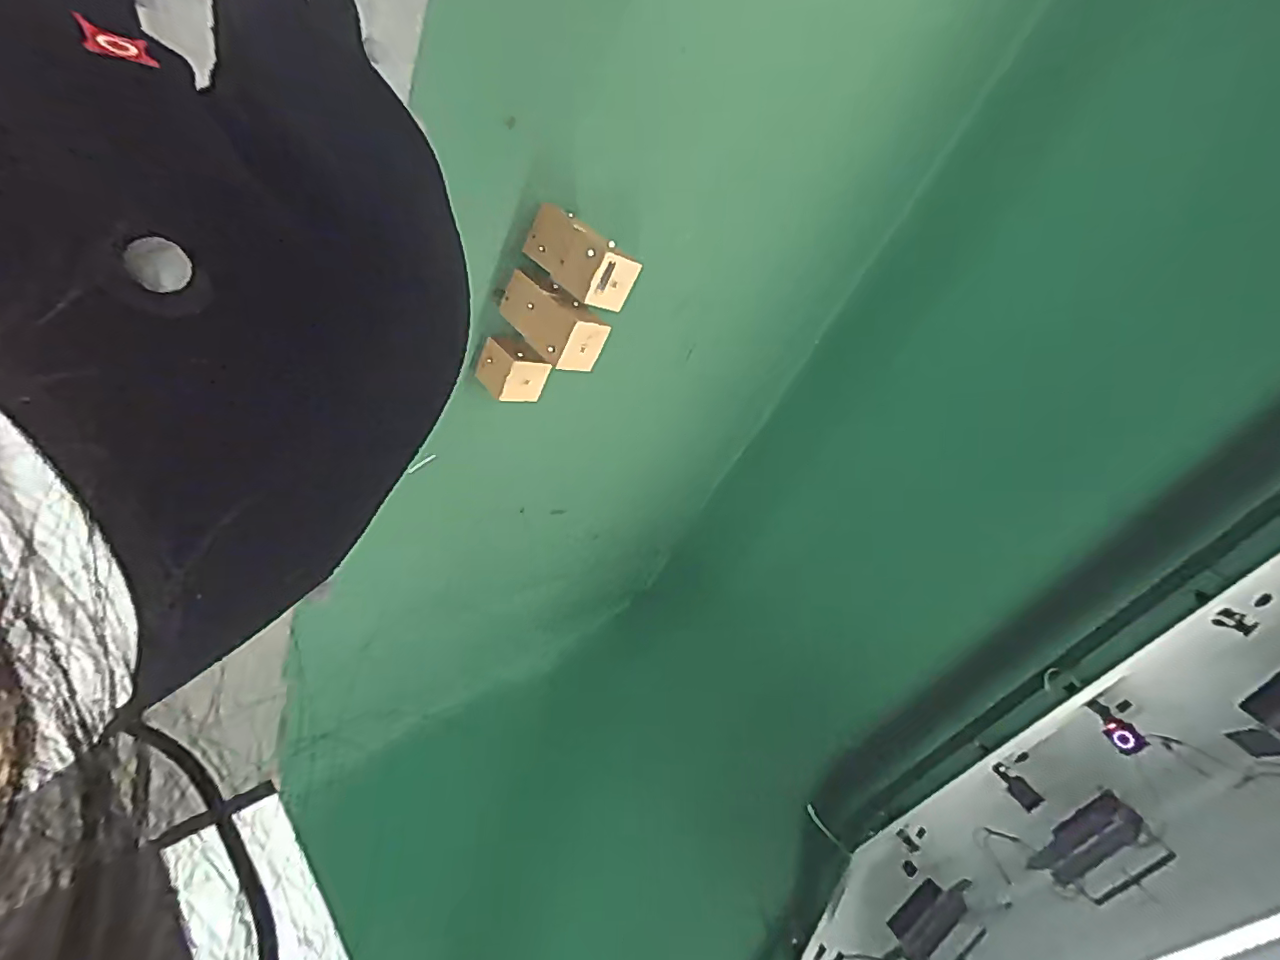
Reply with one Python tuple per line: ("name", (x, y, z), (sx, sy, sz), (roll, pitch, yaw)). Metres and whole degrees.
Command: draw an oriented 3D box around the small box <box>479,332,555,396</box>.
("small box", (-0.448, -0.420, 1.959), (0.179, 0.176, 0.168), (-10, 138, -50))
